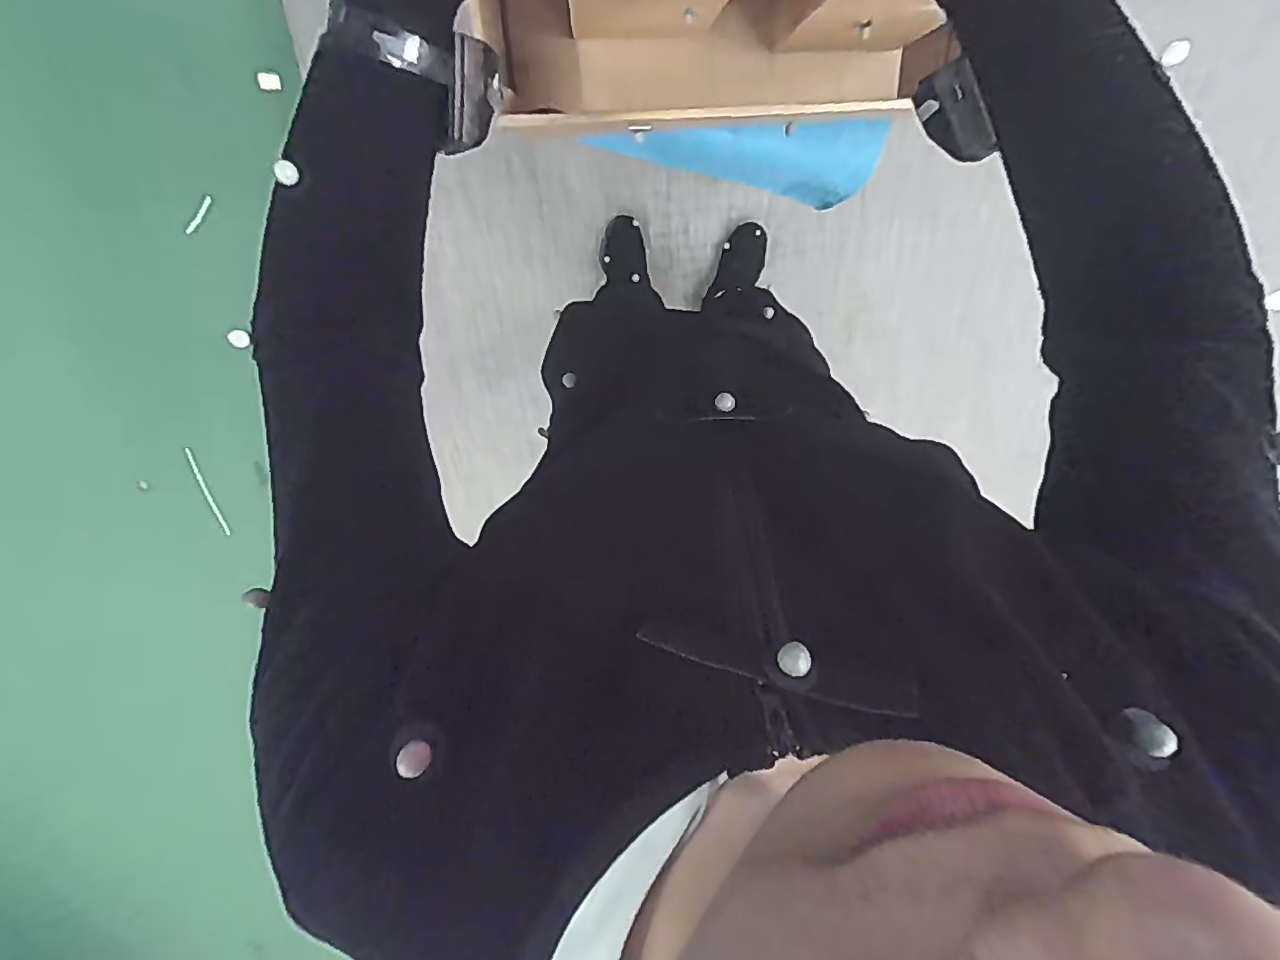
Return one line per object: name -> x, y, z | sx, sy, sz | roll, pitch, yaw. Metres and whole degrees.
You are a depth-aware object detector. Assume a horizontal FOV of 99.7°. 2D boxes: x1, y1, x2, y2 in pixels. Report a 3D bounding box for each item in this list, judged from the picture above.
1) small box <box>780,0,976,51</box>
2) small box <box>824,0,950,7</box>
small box -> 0.264, -0.602, 0.602 | 0.179, 0.176, 0.168 | -2, 116, 0
small box -> 0.270, -0.532, 0.454 | 0.179, 0.176, 0.168 | -3, 116, 1
